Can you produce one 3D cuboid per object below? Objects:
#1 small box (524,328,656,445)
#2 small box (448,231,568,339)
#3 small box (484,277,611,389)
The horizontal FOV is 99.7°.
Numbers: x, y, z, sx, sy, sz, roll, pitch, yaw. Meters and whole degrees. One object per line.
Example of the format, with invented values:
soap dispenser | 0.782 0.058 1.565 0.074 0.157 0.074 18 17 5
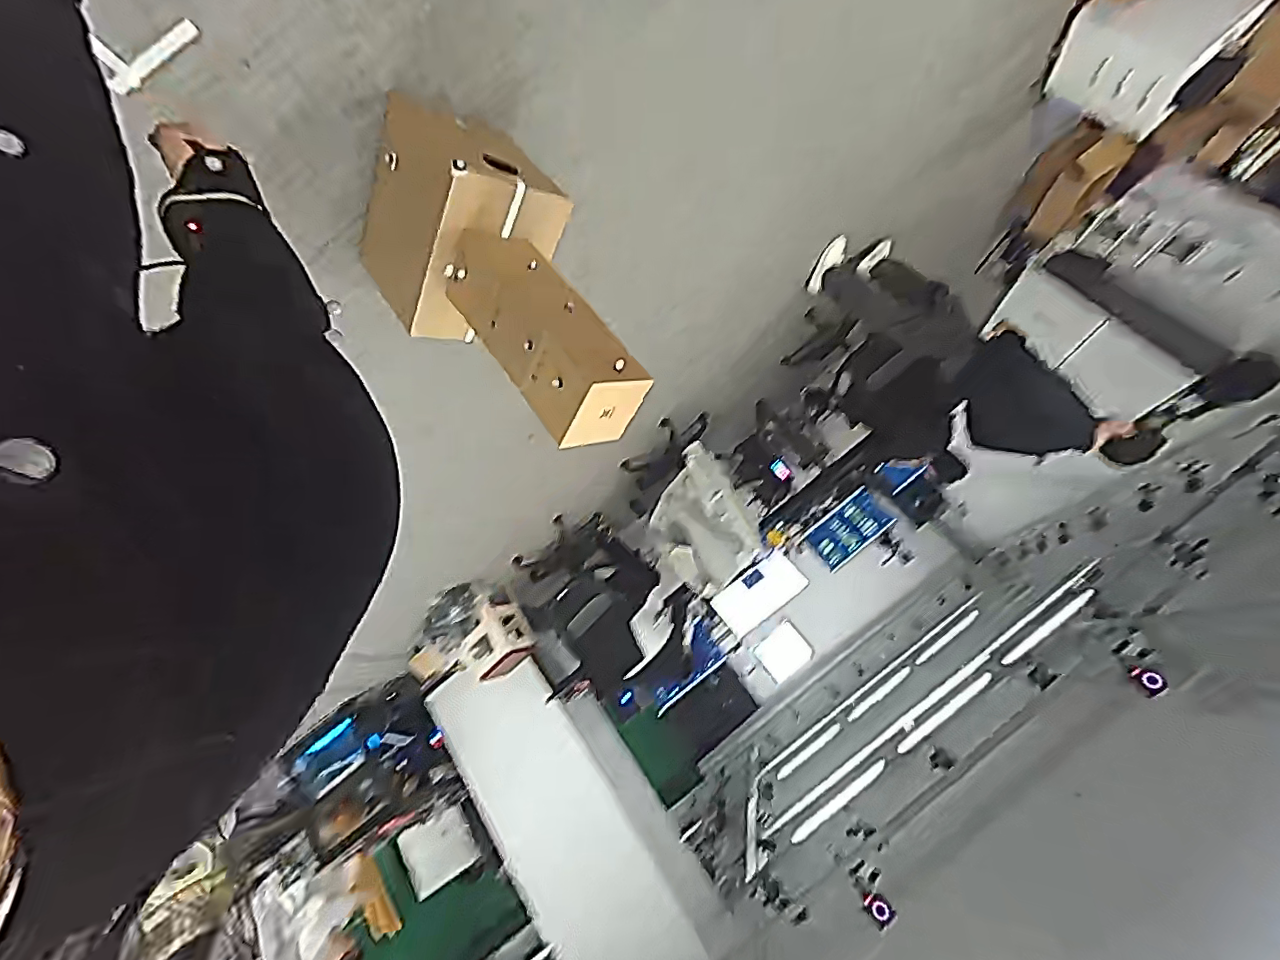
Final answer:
small box | -0.109 -0.195 1.103 0.179 0.176 0.168 -15 148 -47
small box | -0.299 -0.434 1.219 0.179 0.176 0.168 -14 147 -46
small box | -0.201 -0.316 1.162 0.179 0.176 0.168 -15 148 -47
